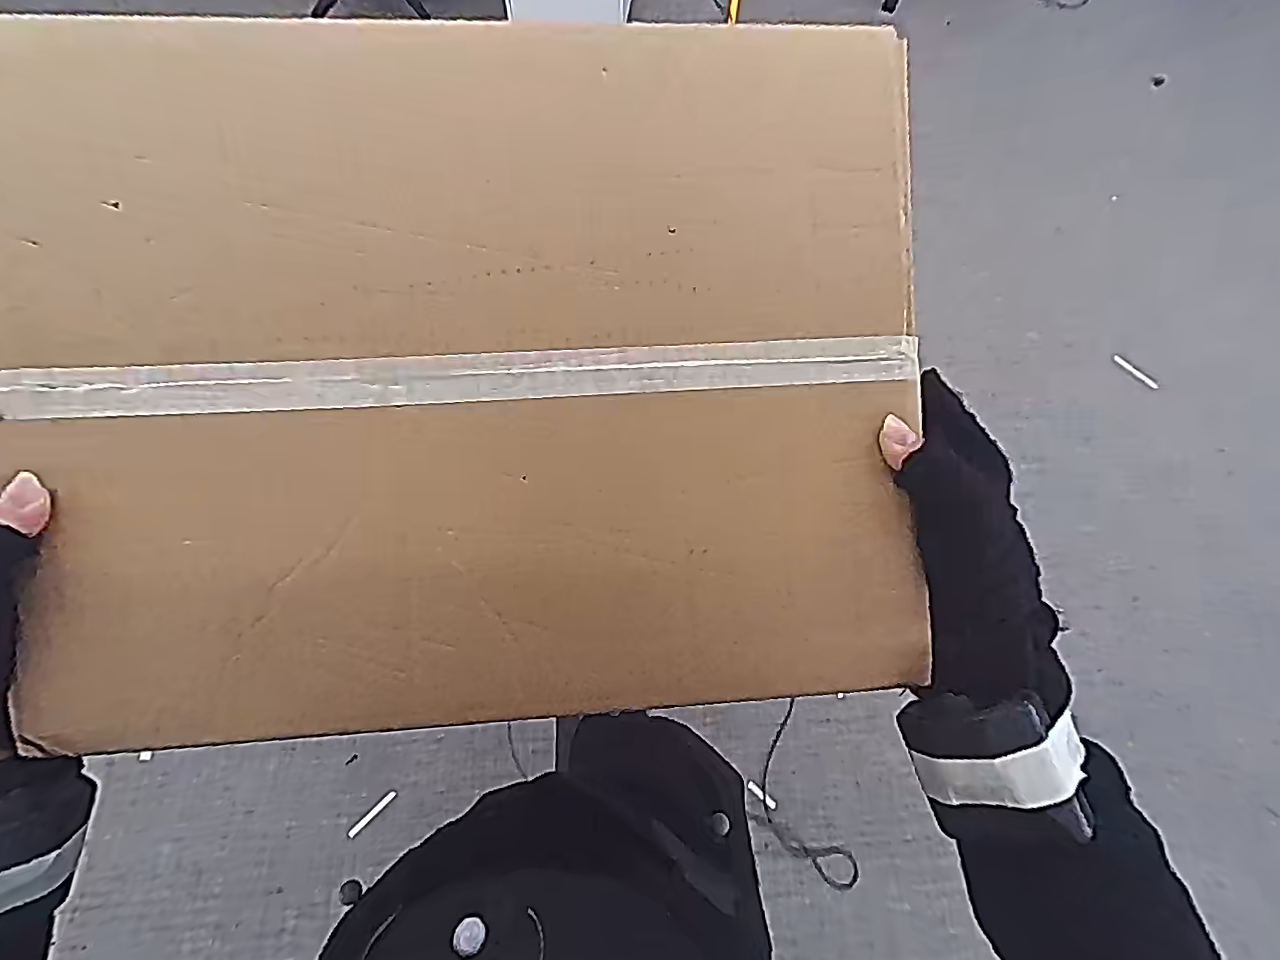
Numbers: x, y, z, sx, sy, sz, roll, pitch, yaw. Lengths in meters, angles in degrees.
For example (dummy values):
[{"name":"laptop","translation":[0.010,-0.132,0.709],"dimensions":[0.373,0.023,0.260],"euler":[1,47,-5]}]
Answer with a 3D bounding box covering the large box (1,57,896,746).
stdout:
[{"name":"large box","translation":[-0.084,-0.047,0.403],"dimensions":[0.408,0.320,0.320],"euler":[-3,91,-4]}]
